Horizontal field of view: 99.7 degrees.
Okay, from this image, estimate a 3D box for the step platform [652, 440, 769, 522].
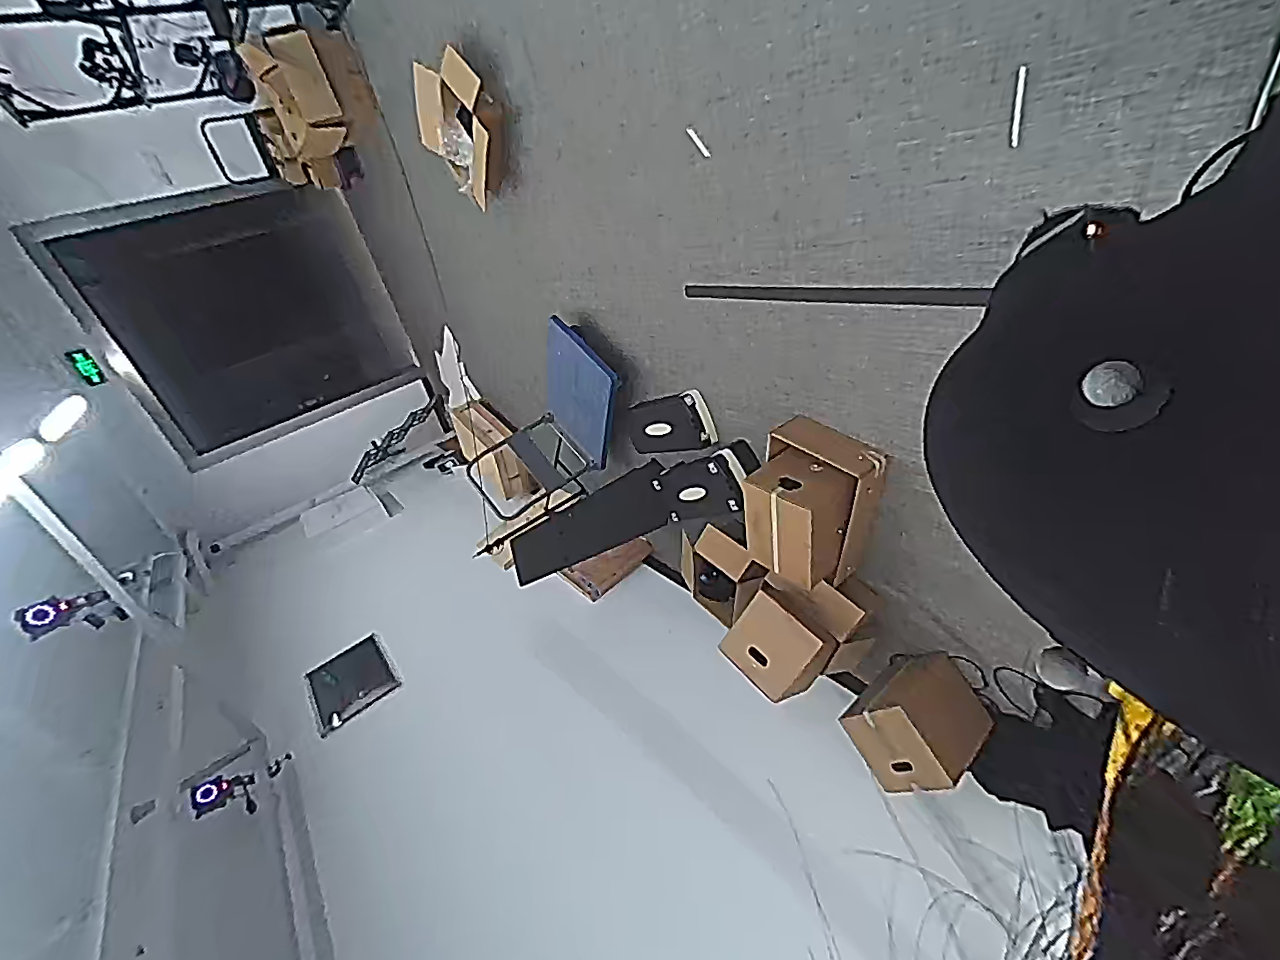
[{"bbox_3d":[0.326,0.025,2.720,0.286,0.204,0.684,60,152,-5],"label":"step platform"}]
